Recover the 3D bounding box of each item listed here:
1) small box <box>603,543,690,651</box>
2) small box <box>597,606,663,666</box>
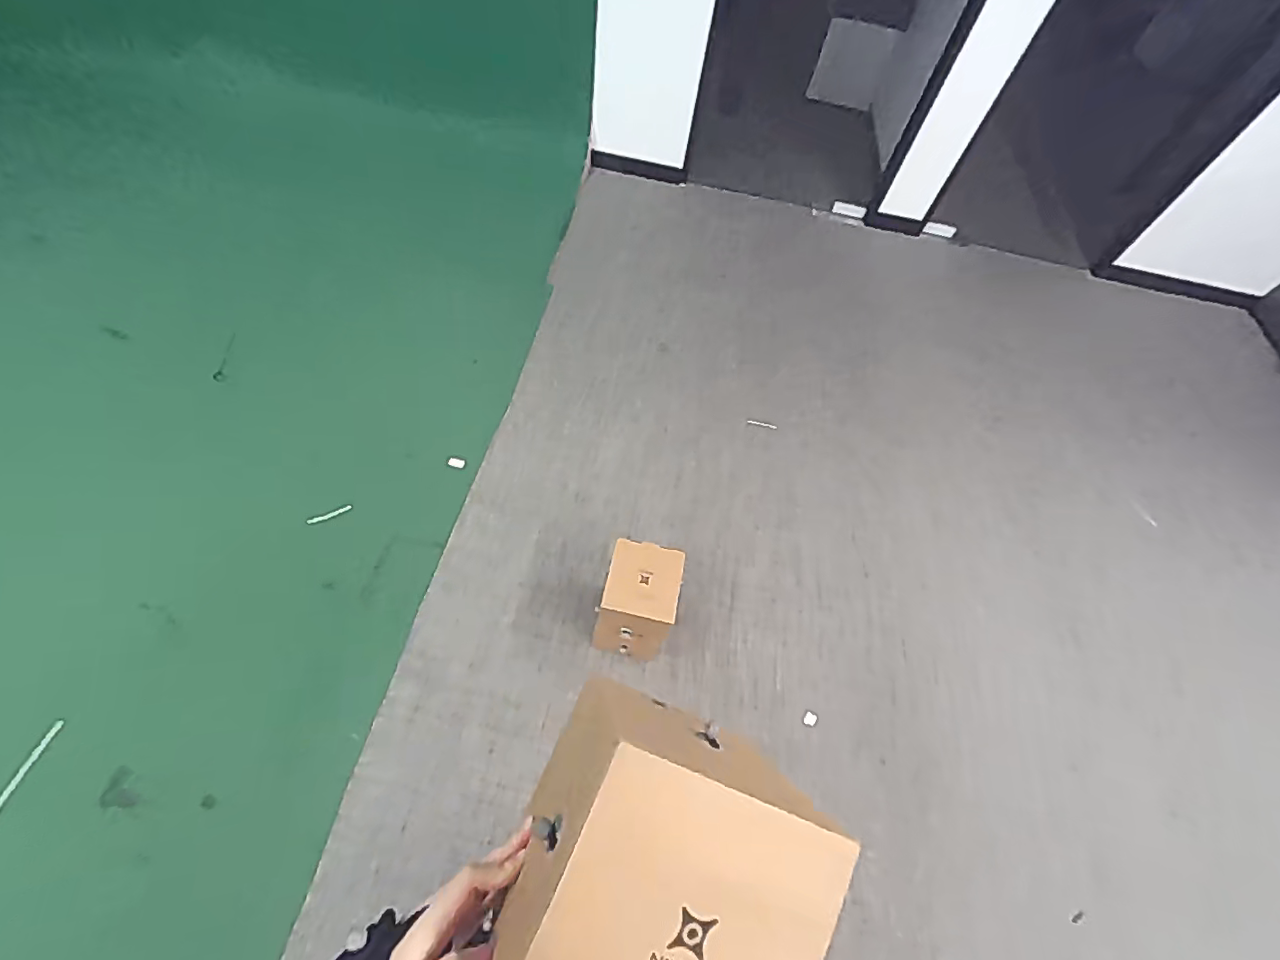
[{"bbox_3d":[0.011,0.276,1.260,0.168,0.176,0.179,12,57,1],"label":"small box"},{"bbox_3d":[-0.011,0.363,1.396,0.168,0.176,0.179,16,57,2],"label":"small box"}]
